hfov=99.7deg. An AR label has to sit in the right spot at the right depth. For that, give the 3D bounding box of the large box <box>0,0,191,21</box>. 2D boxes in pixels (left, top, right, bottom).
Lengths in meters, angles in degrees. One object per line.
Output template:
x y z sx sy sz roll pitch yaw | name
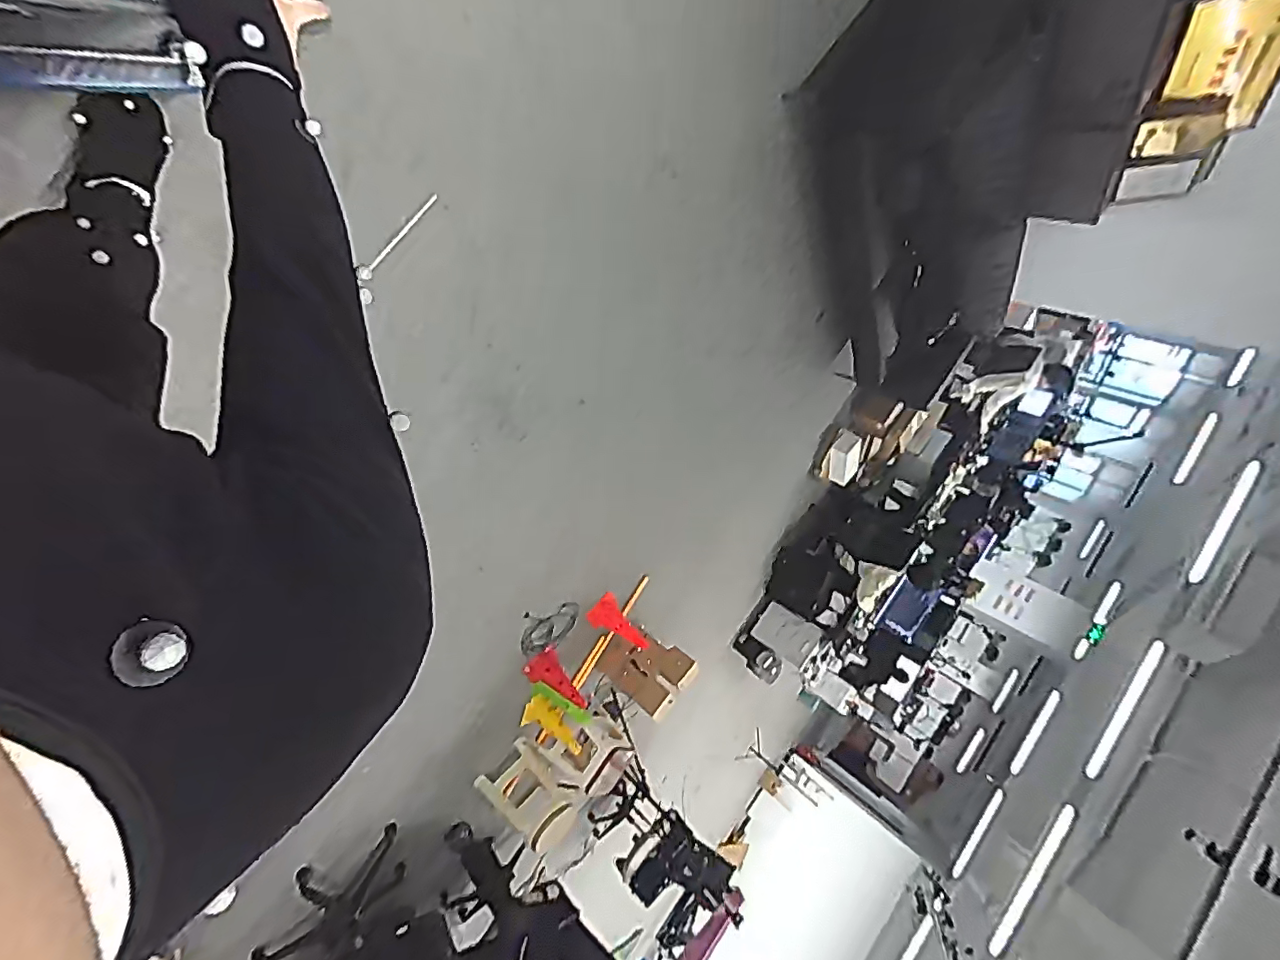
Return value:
-0.832 -0.828 0.642 0.320 0.320 0.408 -30 134 -37 | large box
